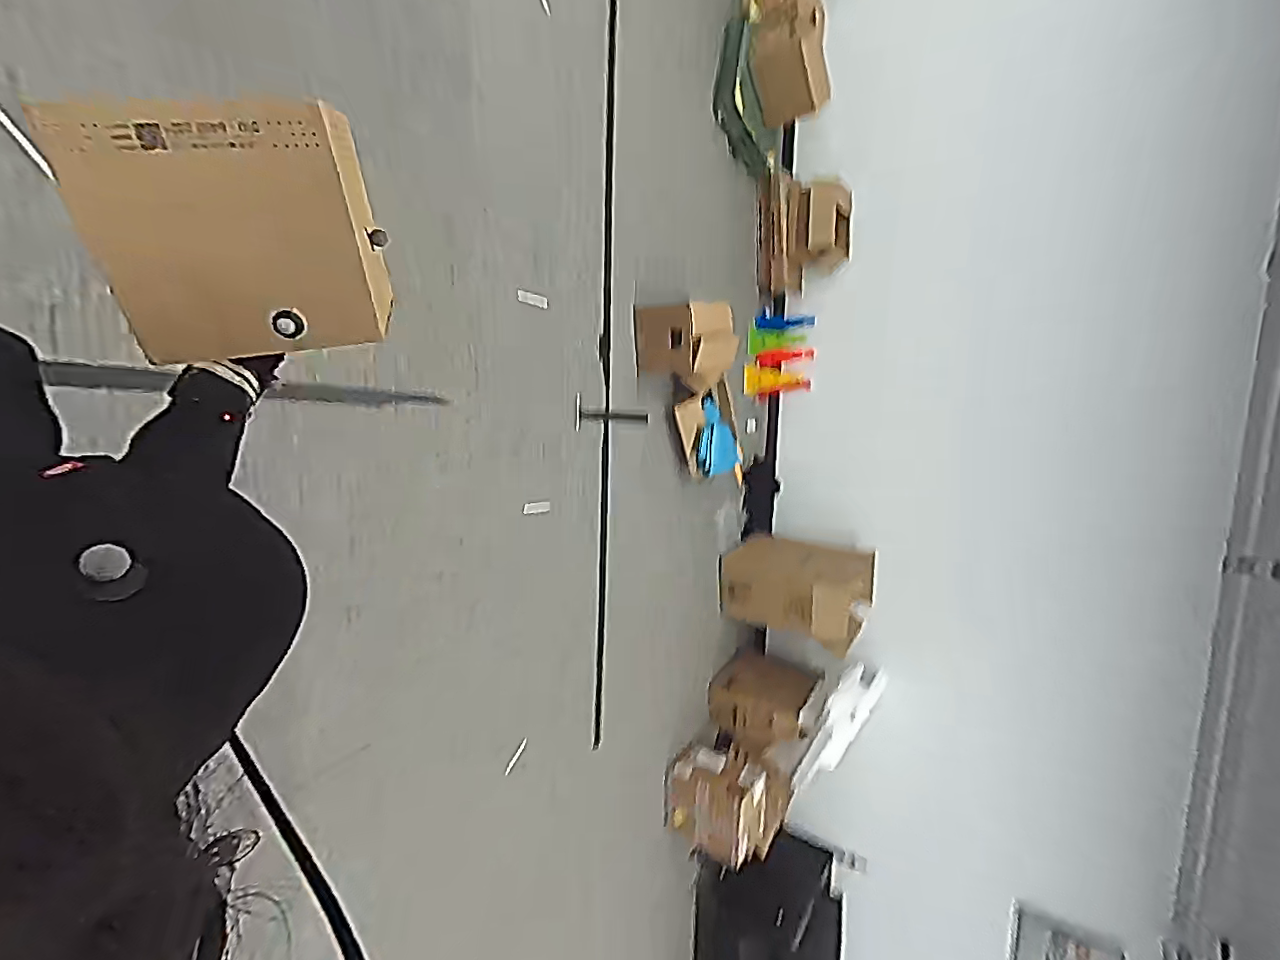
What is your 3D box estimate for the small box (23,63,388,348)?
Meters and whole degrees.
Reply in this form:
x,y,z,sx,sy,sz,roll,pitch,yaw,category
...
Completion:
x,y,z,sx,sy,sz,roll,pitch,yaw,category
-0.315,-0.223,0.443,0.168,0.179,0.176,-12,123,-16,small box
